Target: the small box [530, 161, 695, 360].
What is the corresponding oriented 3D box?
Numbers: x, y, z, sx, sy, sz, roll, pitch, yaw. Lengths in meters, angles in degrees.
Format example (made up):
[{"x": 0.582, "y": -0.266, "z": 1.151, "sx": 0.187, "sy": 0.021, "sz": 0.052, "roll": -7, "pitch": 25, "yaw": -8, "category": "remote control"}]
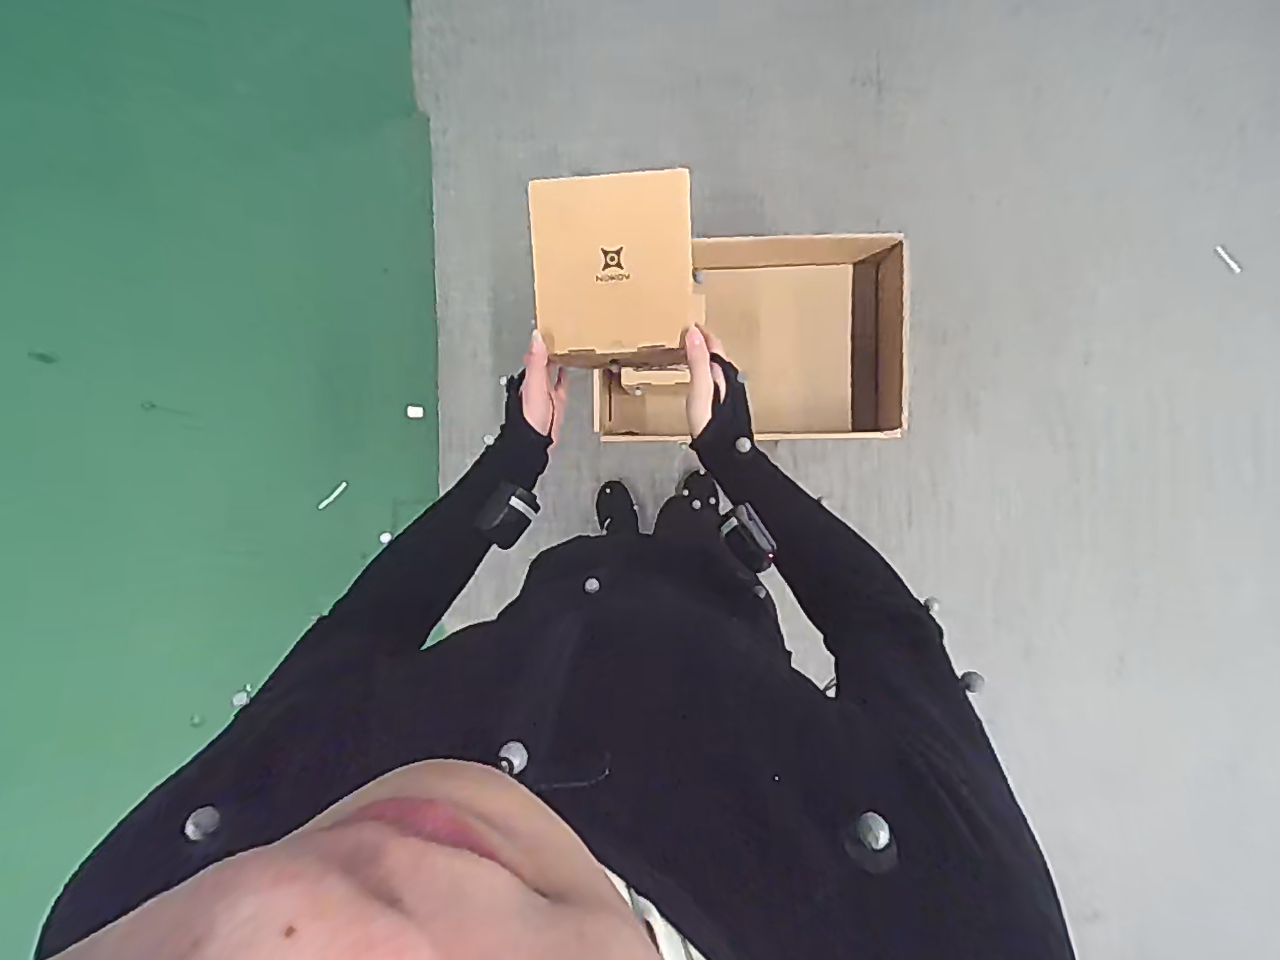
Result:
[{"x": -0.025, "y": -0.239, "z": 0.628, "sx": 0.168, "sy": 0.176, "sz": 0.179, "roll": -2, "pitch": 98, "yaw": 3, "category": "small box"}]
